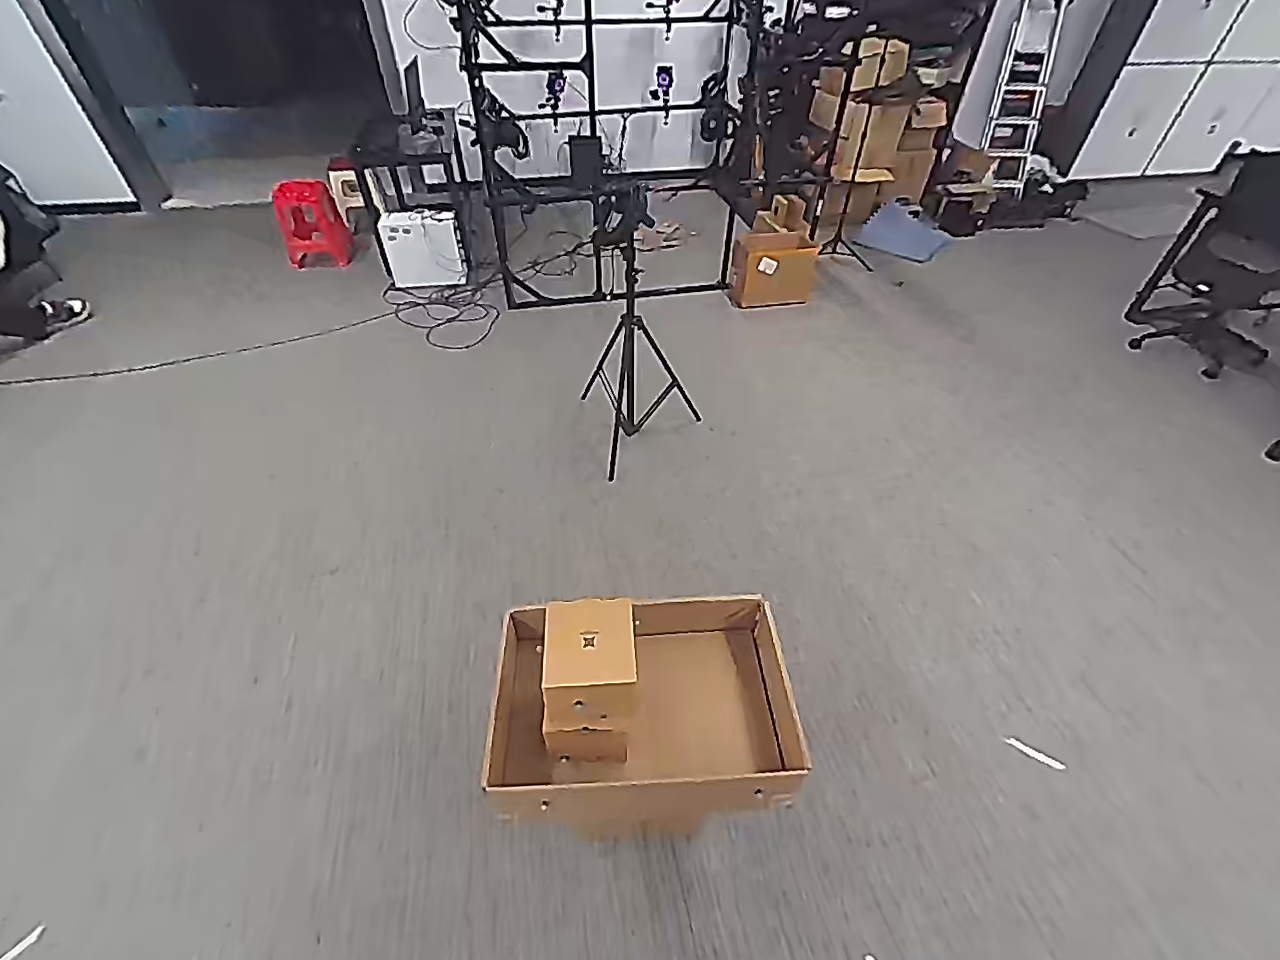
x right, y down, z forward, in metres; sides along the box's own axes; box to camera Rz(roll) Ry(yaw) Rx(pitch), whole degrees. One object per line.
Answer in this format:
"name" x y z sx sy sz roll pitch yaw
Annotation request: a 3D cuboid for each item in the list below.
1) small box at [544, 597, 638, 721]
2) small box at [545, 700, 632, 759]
"small box" -0.089 0.349 1.043 0.168 0.176 0.179 -2 43 -4
"small box" -0.101 0.474 1.147 0.168 0.176 0.179 1 43 -1
